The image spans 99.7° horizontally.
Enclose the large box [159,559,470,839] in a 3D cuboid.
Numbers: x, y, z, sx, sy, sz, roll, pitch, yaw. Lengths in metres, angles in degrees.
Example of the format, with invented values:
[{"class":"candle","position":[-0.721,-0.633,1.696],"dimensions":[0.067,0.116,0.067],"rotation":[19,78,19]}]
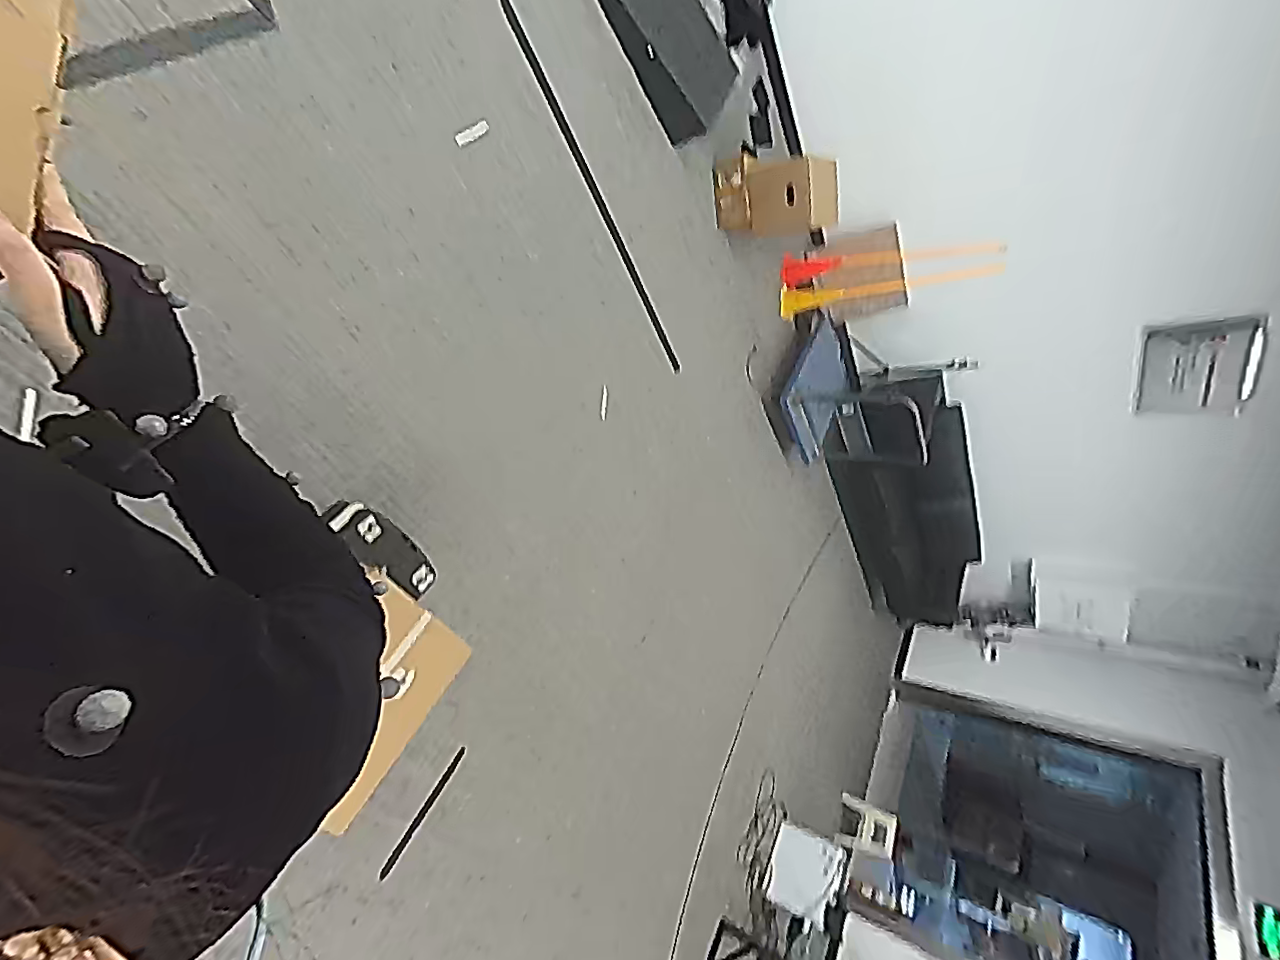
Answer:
[{"class":"large box","position":[-0.649,0.423,1.116],"dimensions":[0.408,0.320,0.320],"rotation":[-58,133,-33]}]

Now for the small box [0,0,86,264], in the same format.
[{"class":"small box","position":[-0.448,-0.225,0.285],"dimensions":[0.179,0.176,0.168],"rotation":[12,85,-56]}]
